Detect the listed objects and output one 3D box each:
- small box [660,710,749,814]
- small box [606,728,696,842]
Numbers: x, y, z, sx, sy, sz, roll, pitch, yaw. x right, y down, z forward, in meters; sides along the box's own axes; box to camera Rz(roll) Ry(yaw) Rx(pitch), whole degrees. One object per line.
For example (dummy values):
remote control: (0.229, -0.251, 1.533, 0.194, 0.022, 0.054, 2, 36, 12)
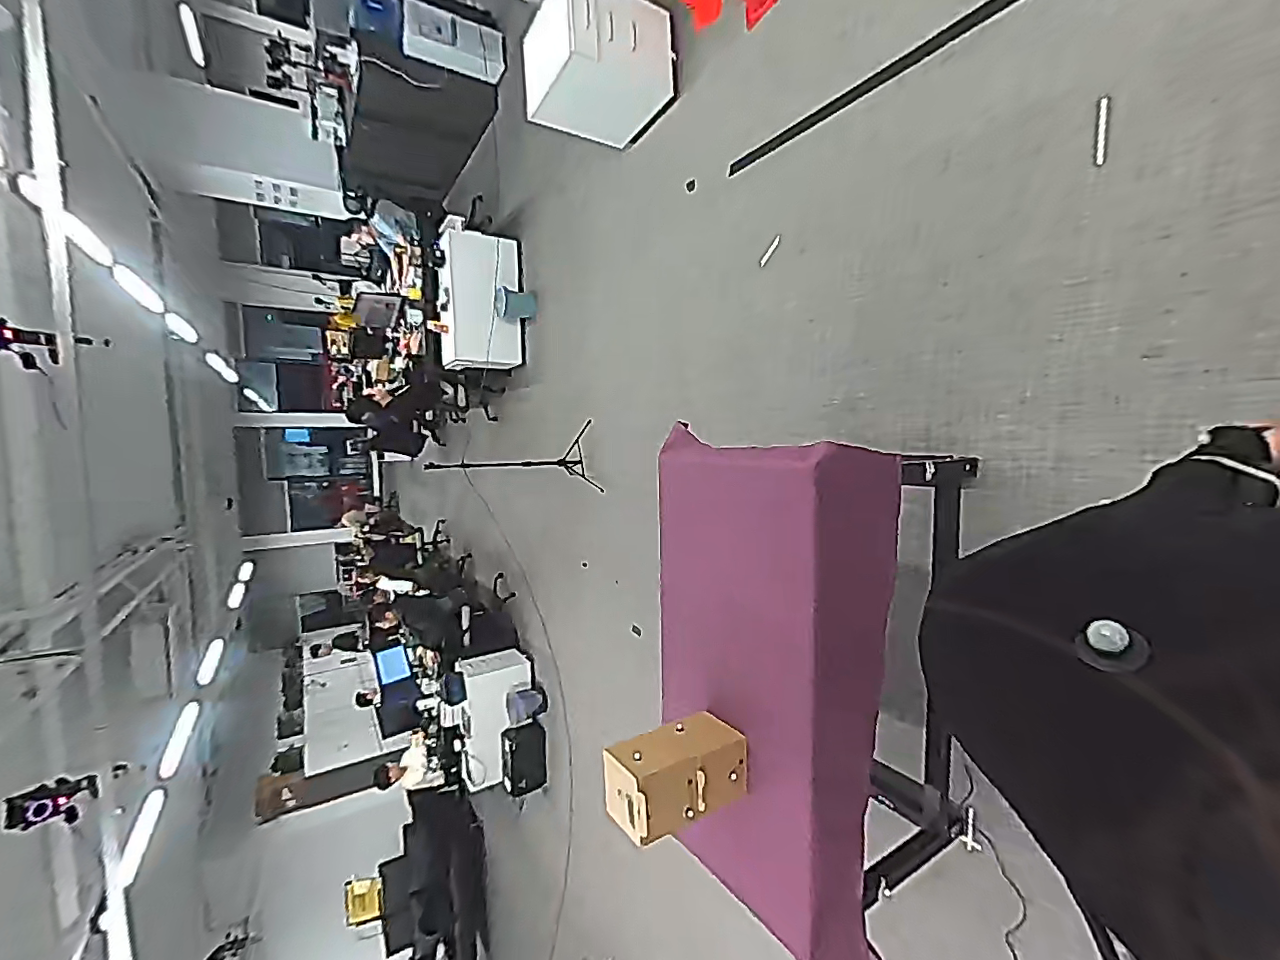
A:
small box: (0.171, 0.740, 1.446, 0.179, 0.176, 0.168, 7, 100, 57)
small box: (0.031, 0.752, 1.359, 0.179, 0.176, 0.168, -1, 93, 59)
